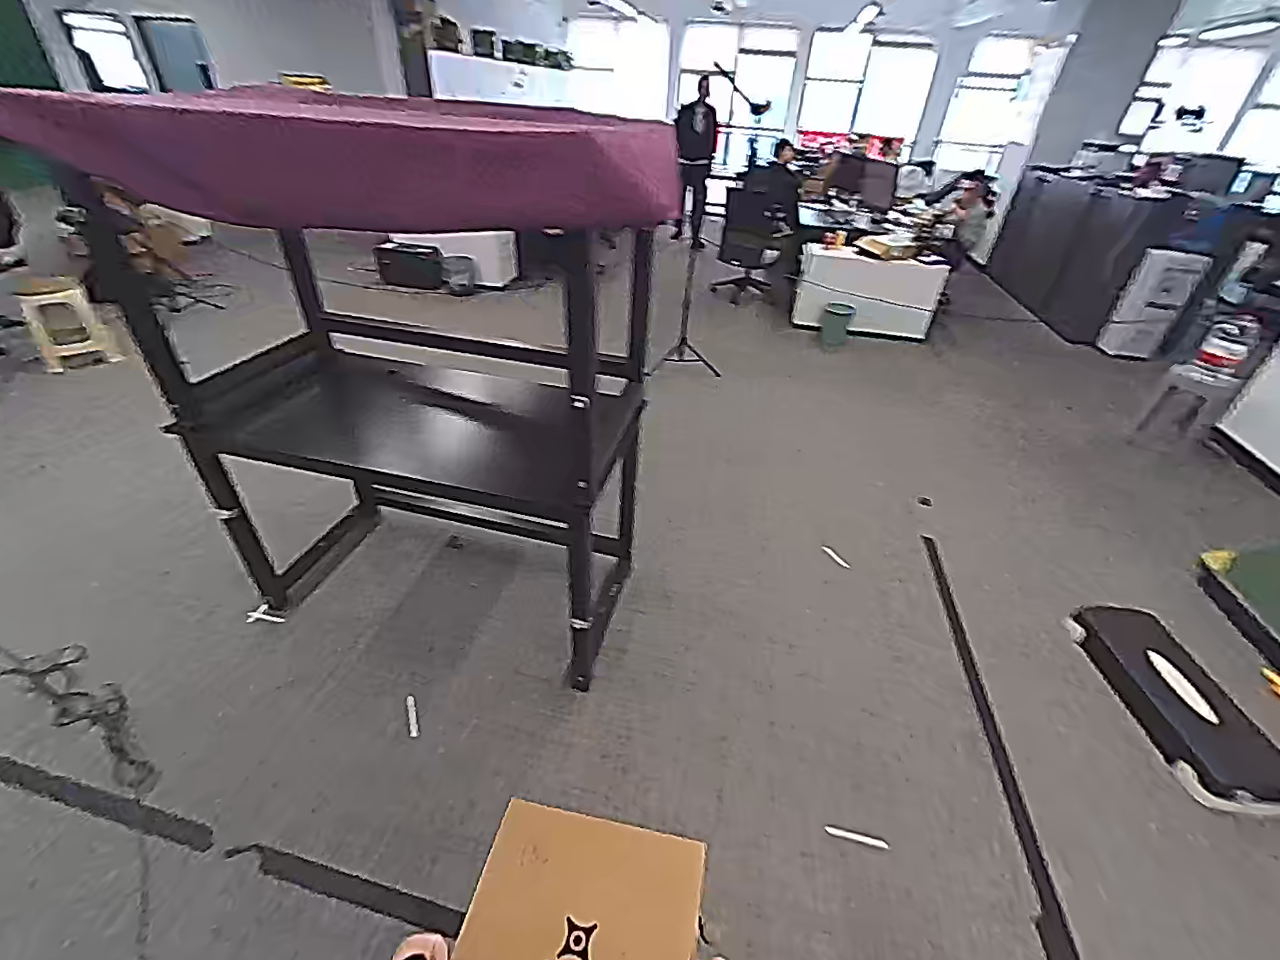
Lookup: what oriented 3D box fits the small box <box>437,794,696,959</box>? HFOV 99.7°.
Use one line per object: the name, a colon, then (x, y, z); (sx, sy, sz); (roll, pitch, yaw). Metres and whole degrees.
small box: (-0.052, 0.384, 0.417); (0.168, 0.176, 0.179); (6, 39, 11)
